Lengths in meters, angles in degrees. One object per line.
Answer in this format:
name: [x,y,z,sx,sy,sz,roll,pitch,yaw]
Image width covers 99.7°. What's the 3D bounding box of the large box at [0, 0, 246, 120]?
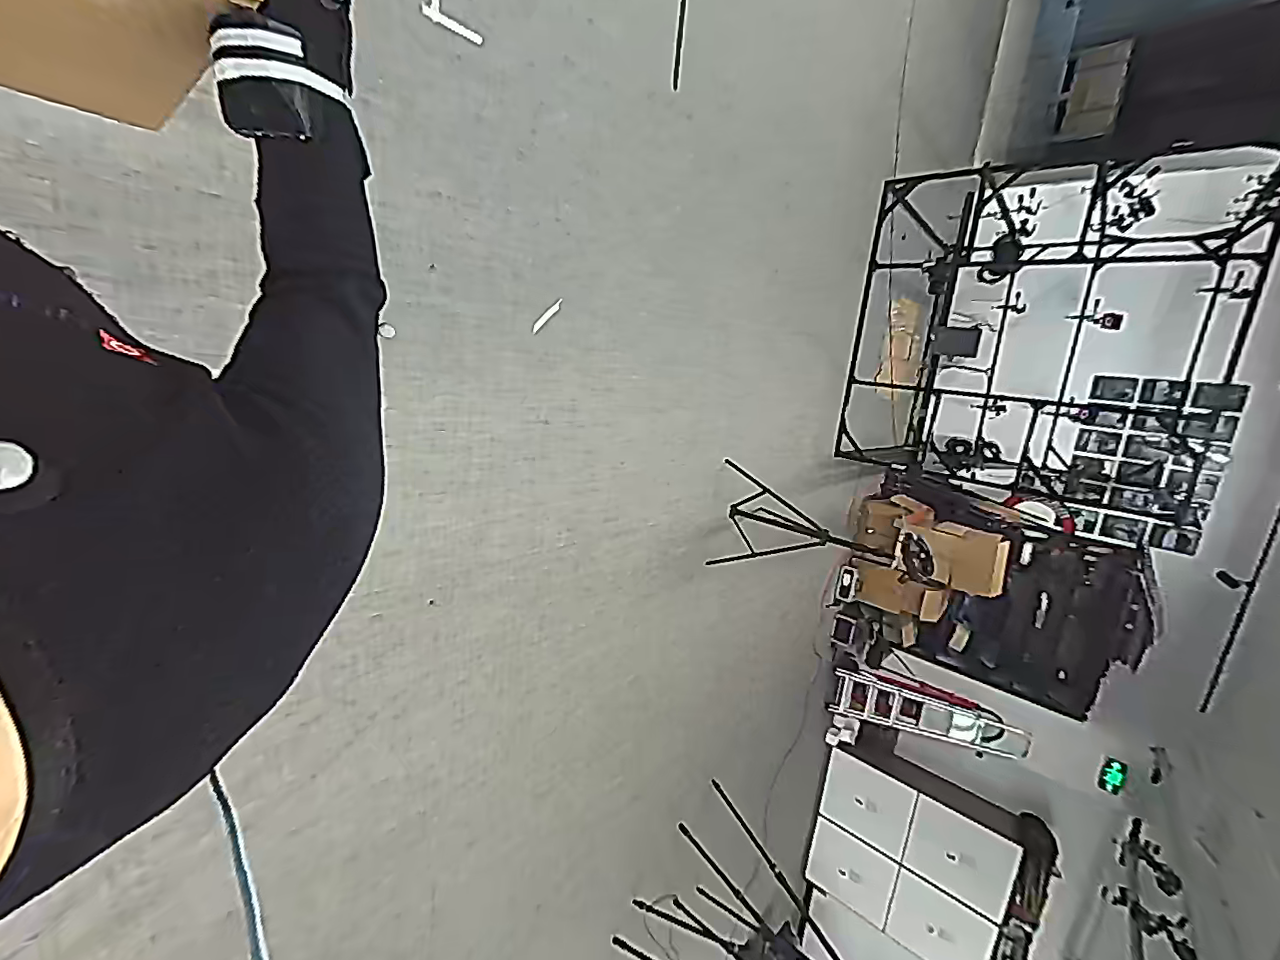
large box: [-0.486,-0.456,0.266,0.408,0.320,0.320,-10,106,-50]
